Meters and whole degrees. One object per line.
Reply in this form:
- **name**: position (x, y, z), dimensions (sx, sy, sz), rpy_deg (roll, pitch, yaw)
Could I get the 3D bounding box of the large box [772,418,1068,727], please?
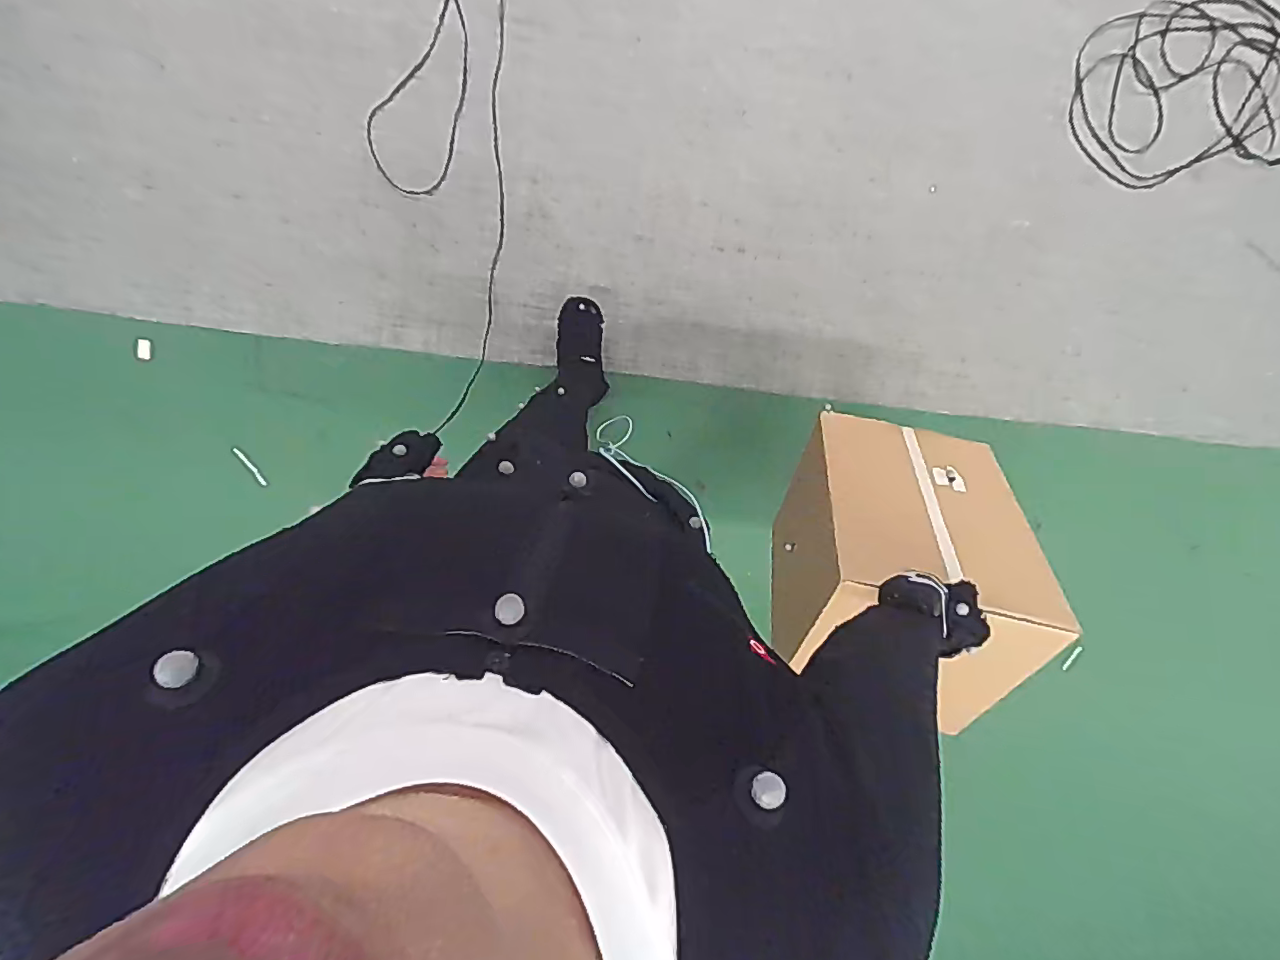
- **large box**: position (0.428, 0.151, 0.957), dimensions (0.320, 0.408, 0.320), rpy_deg (13, 131, 2)
